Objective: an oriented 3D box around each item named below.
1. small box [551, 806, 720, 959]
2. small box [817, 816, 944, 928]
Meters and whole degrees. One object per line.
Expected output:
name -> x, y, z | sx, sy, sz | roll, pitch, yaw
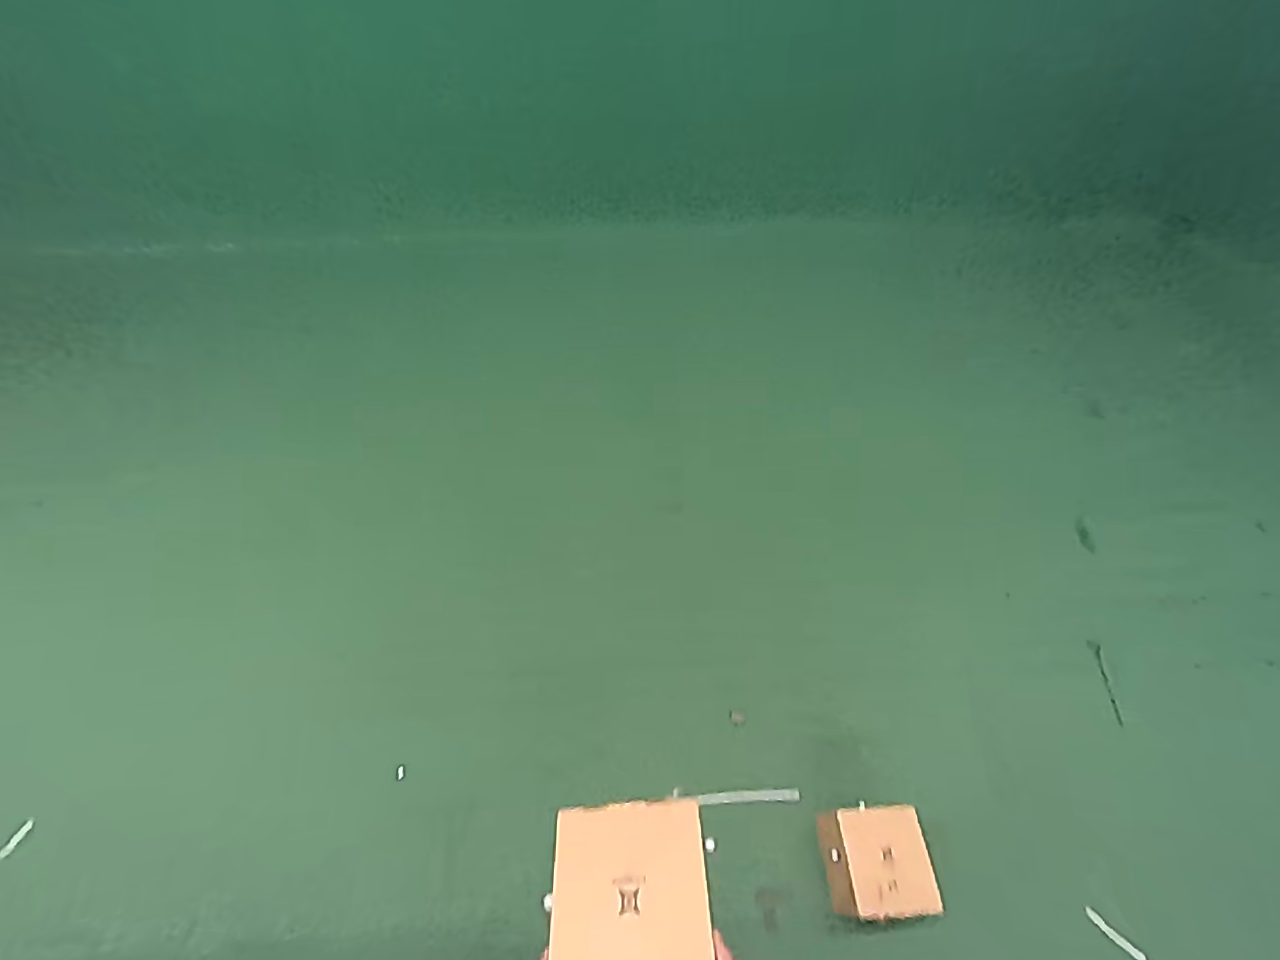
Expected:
small box -> 0.001, 0.495, 0.599 | 0.168, 0.176, 0.179 | -6, 37, 1
small box -> 0.486, 0.813, 1.124 | 0.168, 0.176, 0.179 | -1, 54, -2
